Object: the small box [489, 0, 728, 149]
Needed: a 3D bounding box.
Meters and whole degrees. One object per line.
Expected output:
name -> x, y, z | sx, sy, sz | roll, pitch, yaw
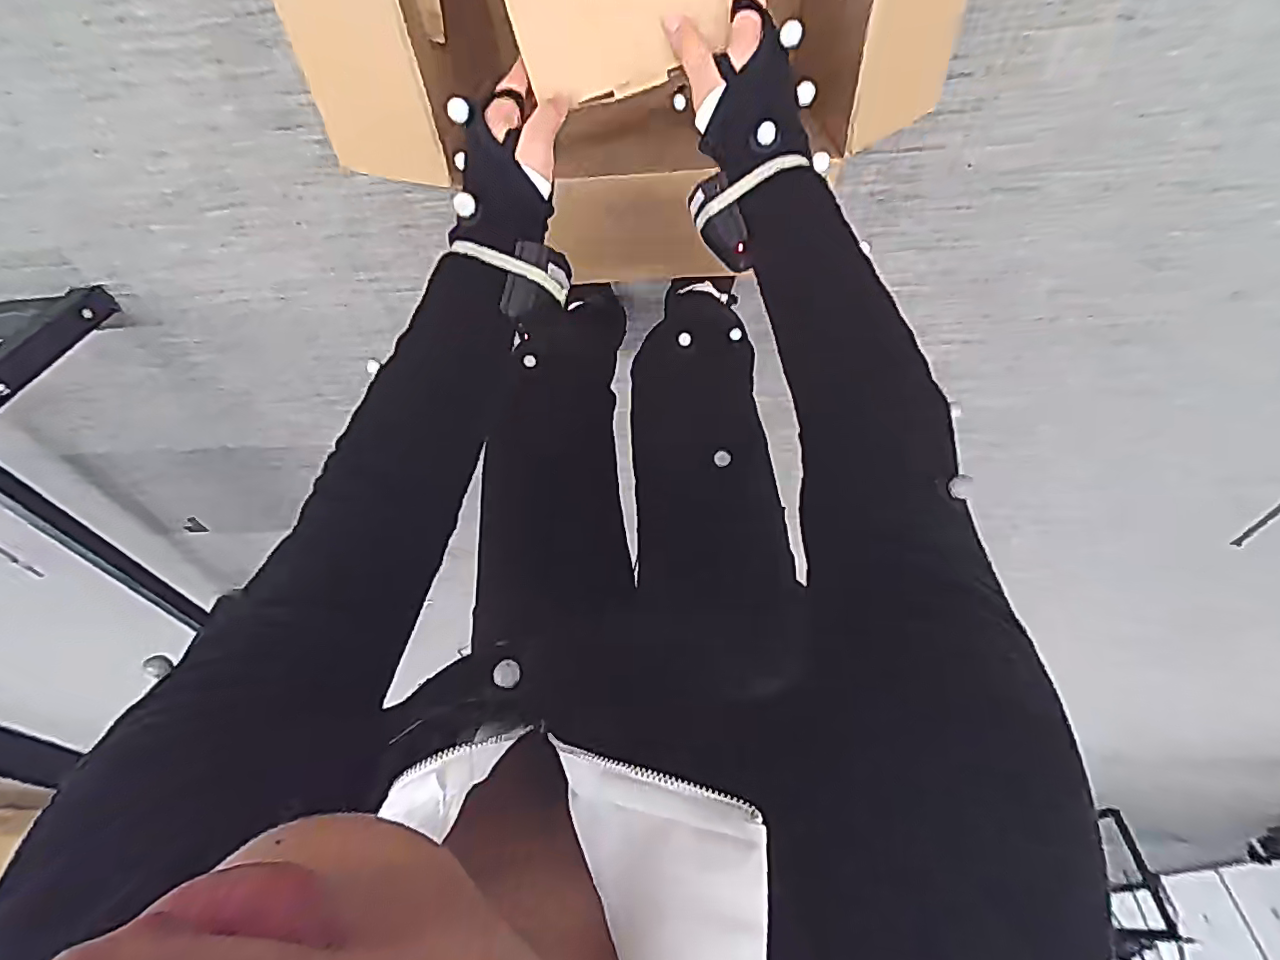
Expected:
small box -> -0.032, -0.406, 0.464 | 0.168, 0.176, 0.179 | -16, 113, 7
